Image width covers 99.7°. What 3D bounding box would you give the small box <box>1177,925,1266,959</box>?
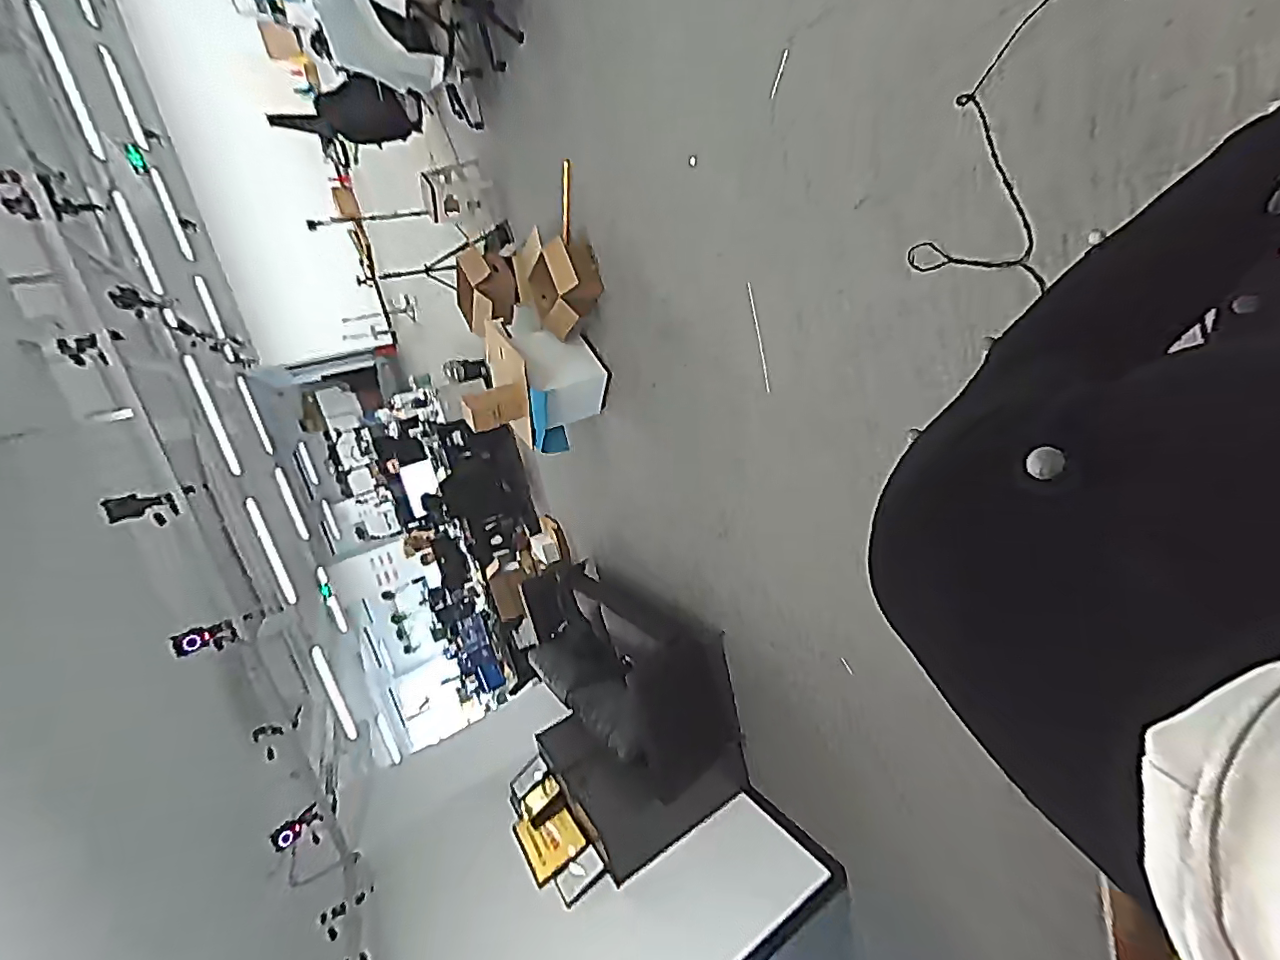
[{"bbox_3d":[1.205,1.059,1.079,0.179,0.176,0.168,0,110,62],"label":"small box"}]
